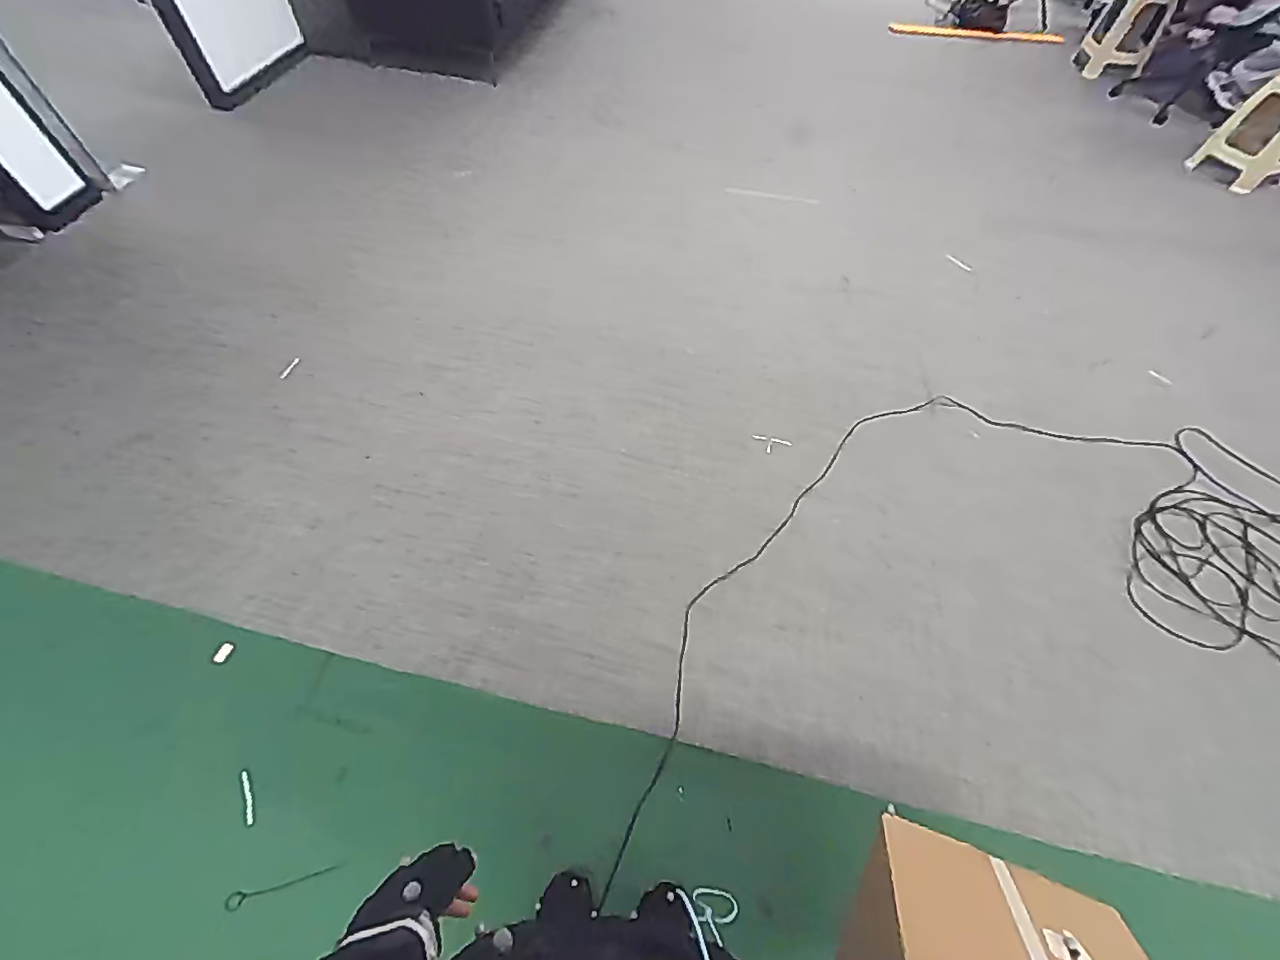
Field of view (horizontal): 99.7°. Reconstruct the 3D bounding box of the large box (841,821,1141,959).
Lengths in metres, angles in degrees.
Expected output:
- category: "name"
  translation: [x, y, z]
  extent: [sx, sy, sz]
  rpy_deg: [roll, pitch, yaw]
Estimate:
- category: "large box"
  translation: [0.419, 0.714, 0.620]
  extent: [0.320, 0.408, 0.320]
  rpy_deg: [17, 96, 18]
